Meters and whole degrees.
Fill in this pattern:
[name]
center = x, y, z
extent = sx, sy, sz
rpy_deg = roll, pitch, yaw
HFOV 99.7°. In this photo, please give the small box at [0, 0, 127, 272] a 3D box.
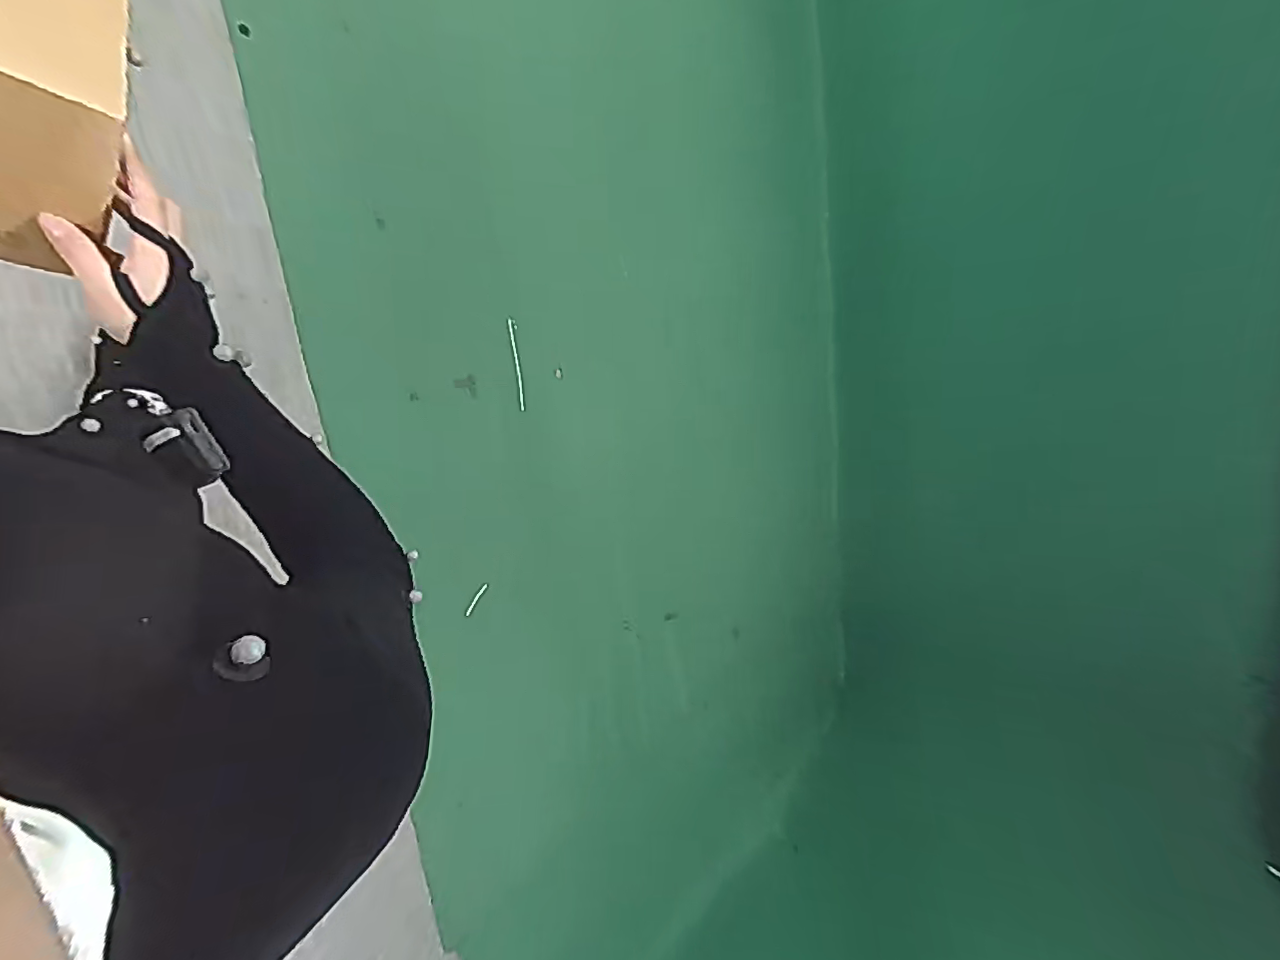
[small box]
center = -0.486, -0.285, 0.382
extent = 0.168, 0.176, 0.179
rpy_deg = 5, 56, -49
